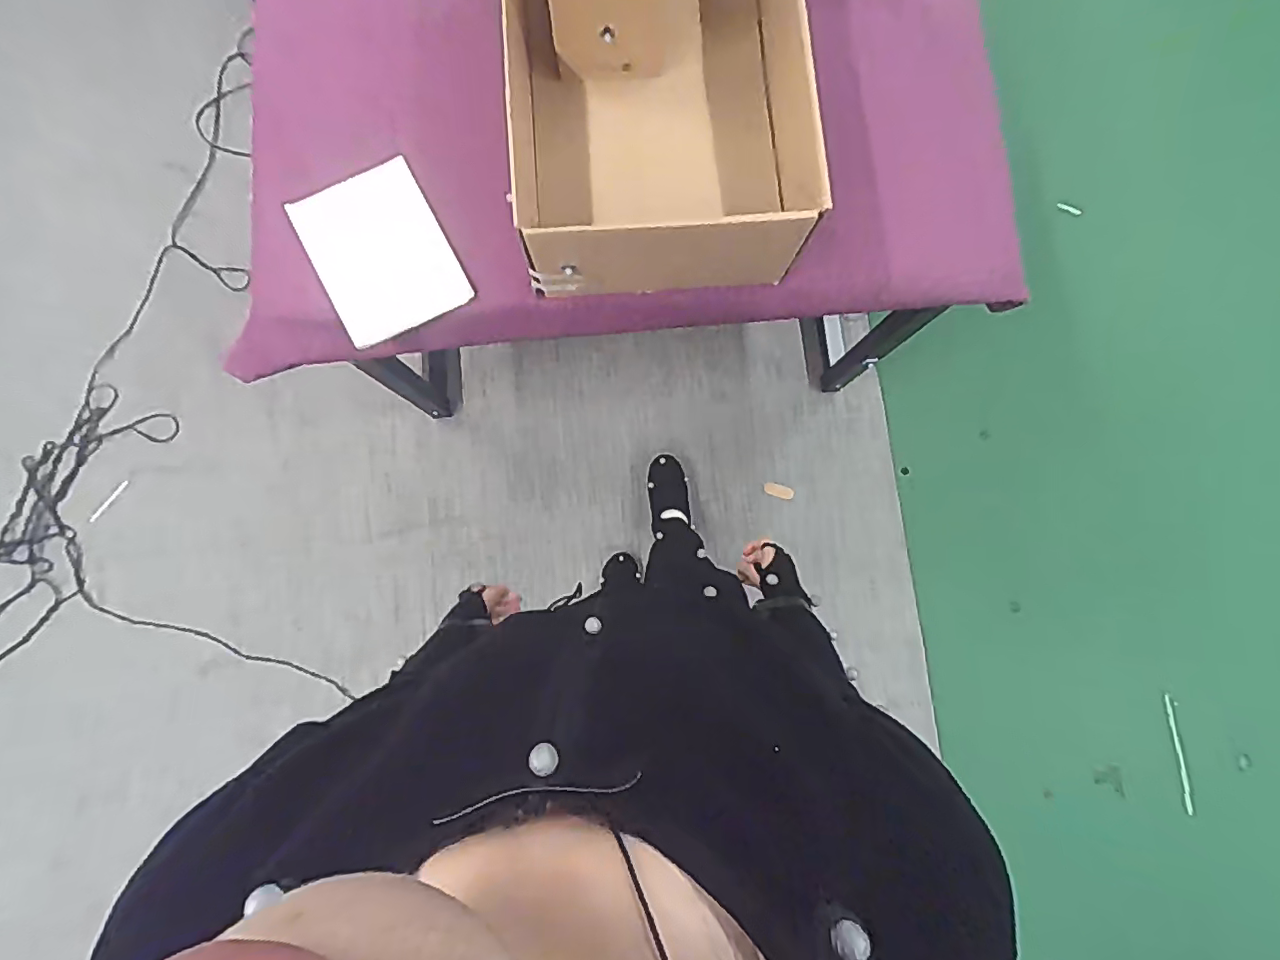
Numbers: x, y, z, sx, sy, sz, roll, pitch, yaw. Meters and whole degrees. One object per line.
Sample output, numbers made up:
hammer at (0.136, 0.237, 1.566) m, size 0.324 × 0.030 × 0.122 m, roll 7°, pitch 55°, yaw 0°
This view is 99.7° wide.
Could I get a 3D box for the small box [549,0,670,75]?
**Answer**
small box at (-0.045, -0.717, 0.769) m, size 0.168 × 0.176 × 0.179 m, roll -4°, pitch 85°, yaw -2°
